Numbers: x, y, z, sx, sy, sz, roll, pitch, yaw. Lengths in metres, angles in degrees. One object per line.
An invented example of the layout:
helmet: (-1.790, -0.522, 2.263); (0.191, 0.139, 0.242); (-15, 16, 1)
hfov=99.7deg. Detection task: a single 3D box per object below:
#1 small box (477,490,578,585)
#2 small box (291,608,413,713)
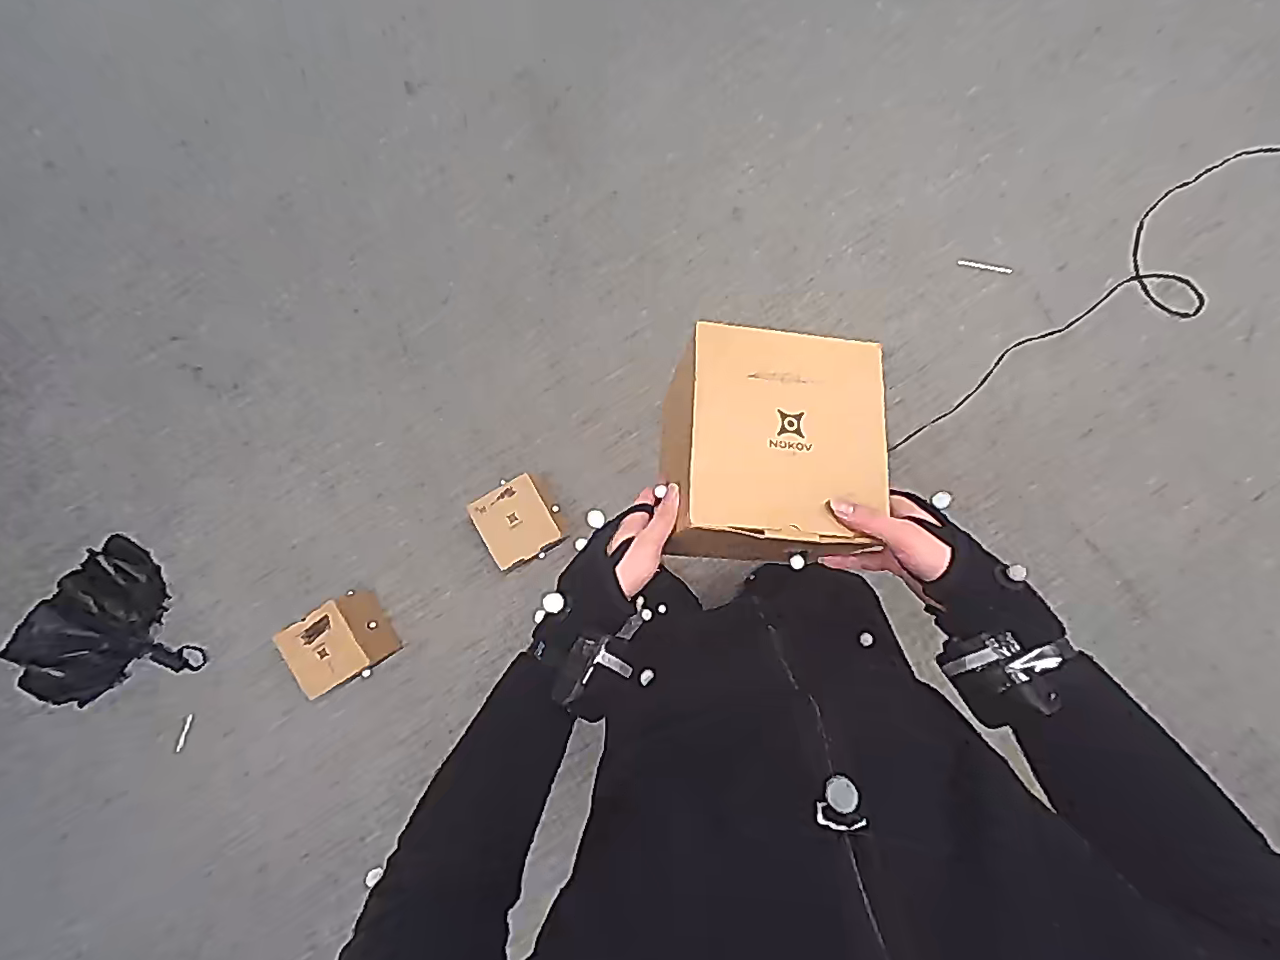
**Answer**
small box: (-0.272, 0.137, 1.350); (0.168, 0.176, 0.179); (-31, 86, 0)
small box: (-0.704, 0.433, 1.340); (0.168, 0.176, 0.179); (-33, 86, 0)
